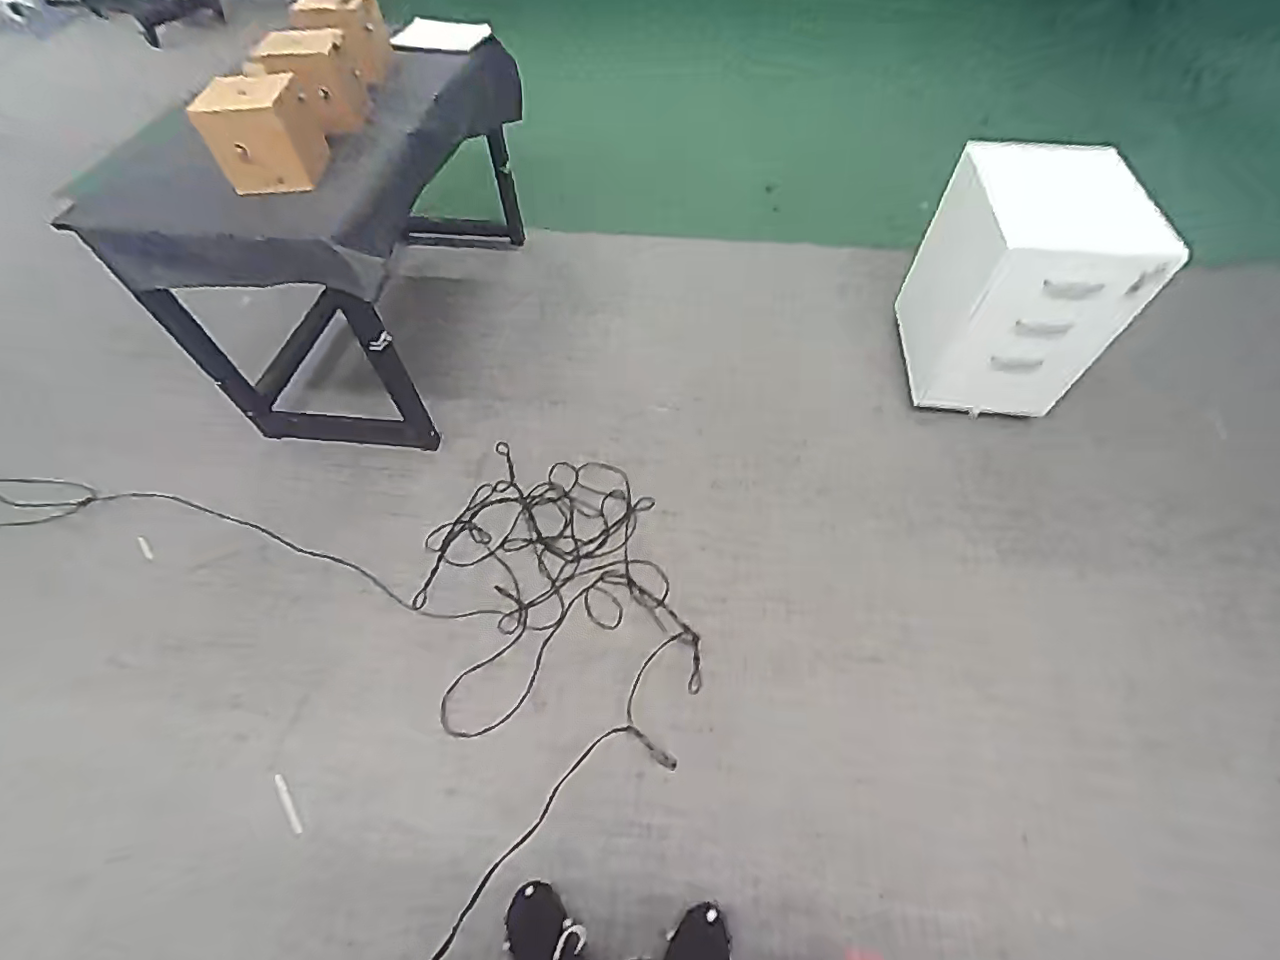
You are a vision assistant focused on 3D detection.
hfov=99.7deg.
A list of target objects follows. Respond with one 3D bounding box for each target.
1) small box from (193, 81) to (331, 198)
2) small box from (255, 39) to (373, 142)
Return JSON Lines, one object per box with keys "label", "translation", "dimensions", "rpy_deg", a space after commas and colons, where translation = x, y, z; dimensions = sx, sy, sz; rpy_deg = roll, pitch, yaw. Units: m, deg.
{"label": "small box", "translation": [-0.808, -0.736, 1.181], "dimensions": [0.168, 0.176, 0.179], "rpy_deg": [-6, 55, -3]}
{"label": "small box", "translation": [-0.792, -0.957, 1.338], "dimensions": [0.179, 0.176, 0.168], "rpy_deg": [-4, 54, -1]}
